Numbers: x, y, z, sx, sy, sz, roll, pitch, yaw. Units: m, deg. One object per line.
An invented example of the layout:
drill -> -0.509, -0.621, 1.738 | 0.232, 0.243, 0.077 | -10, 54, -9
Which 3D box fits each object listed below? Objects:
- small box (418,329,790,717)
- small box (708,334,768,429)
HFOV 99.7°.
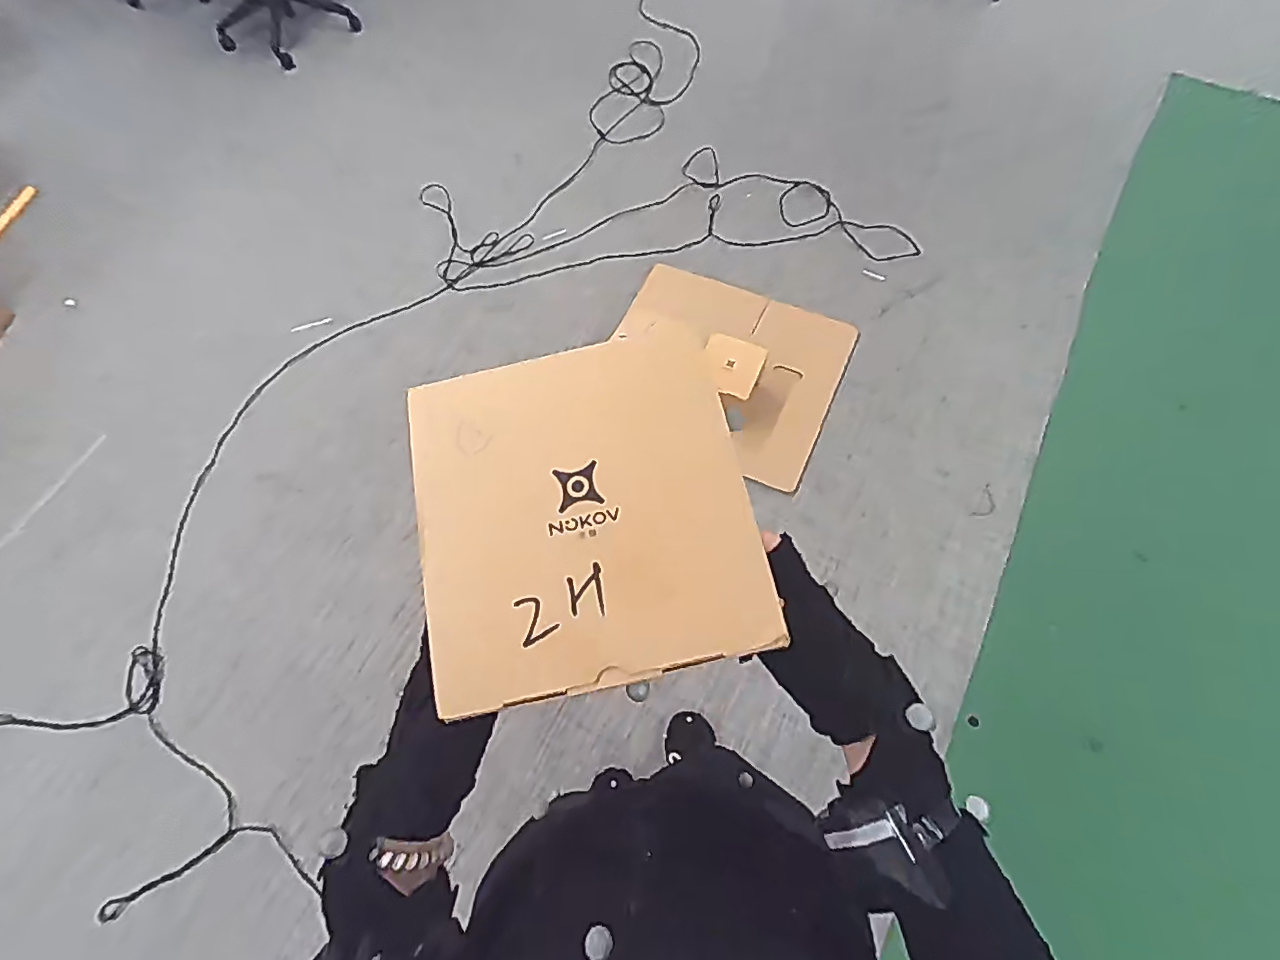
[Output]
small box -> -0.021, 0.036, 0.349 | 0.168, 0.176, 0.179 | -13, 73, 1
small box -> 0.245, -0.275, 1.534 | 0.168, 0.176, 0.179 | 22, 72, 12
